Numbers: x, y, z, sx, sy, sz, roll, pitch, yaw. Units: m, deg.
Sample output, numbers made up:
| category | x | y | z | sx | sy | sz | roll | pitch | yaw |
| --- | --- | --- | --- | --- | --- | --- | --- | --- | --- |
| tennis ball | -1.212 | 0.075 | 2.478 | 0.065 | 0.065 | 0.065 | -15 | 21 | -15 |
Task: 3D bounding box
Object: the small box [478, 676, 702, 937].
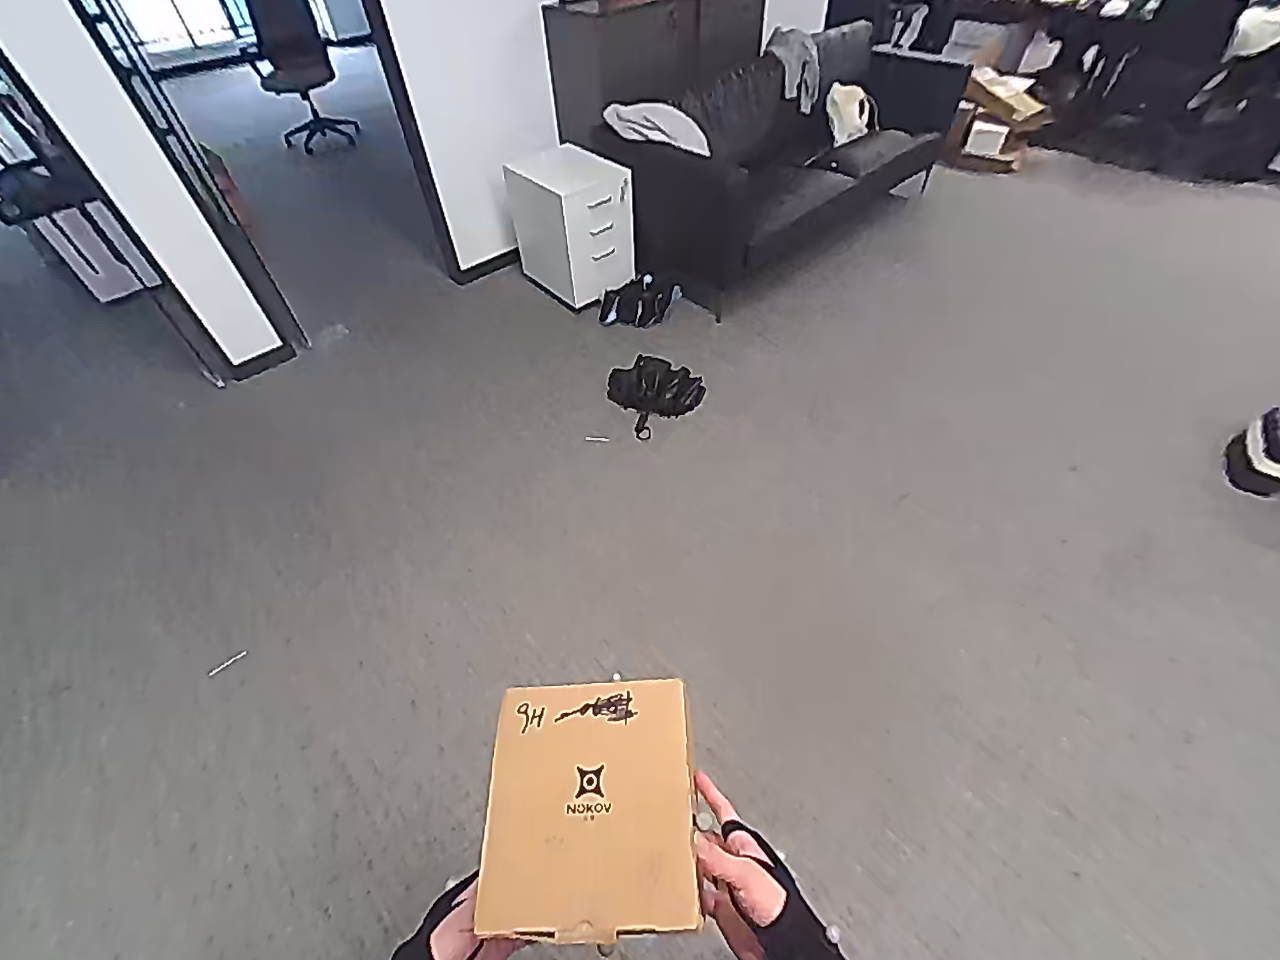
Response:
| category | x | y | z | sx | sy | sz | roll | pitch | yaw |
| --- | --- | --- | --- | --- | --- | --- | --- | --- | --- |
| small box | -0.031 | 0.294 | 0.495 | 0.168 | 0.176 | 0.179 | -4 | 54 | 3 |
